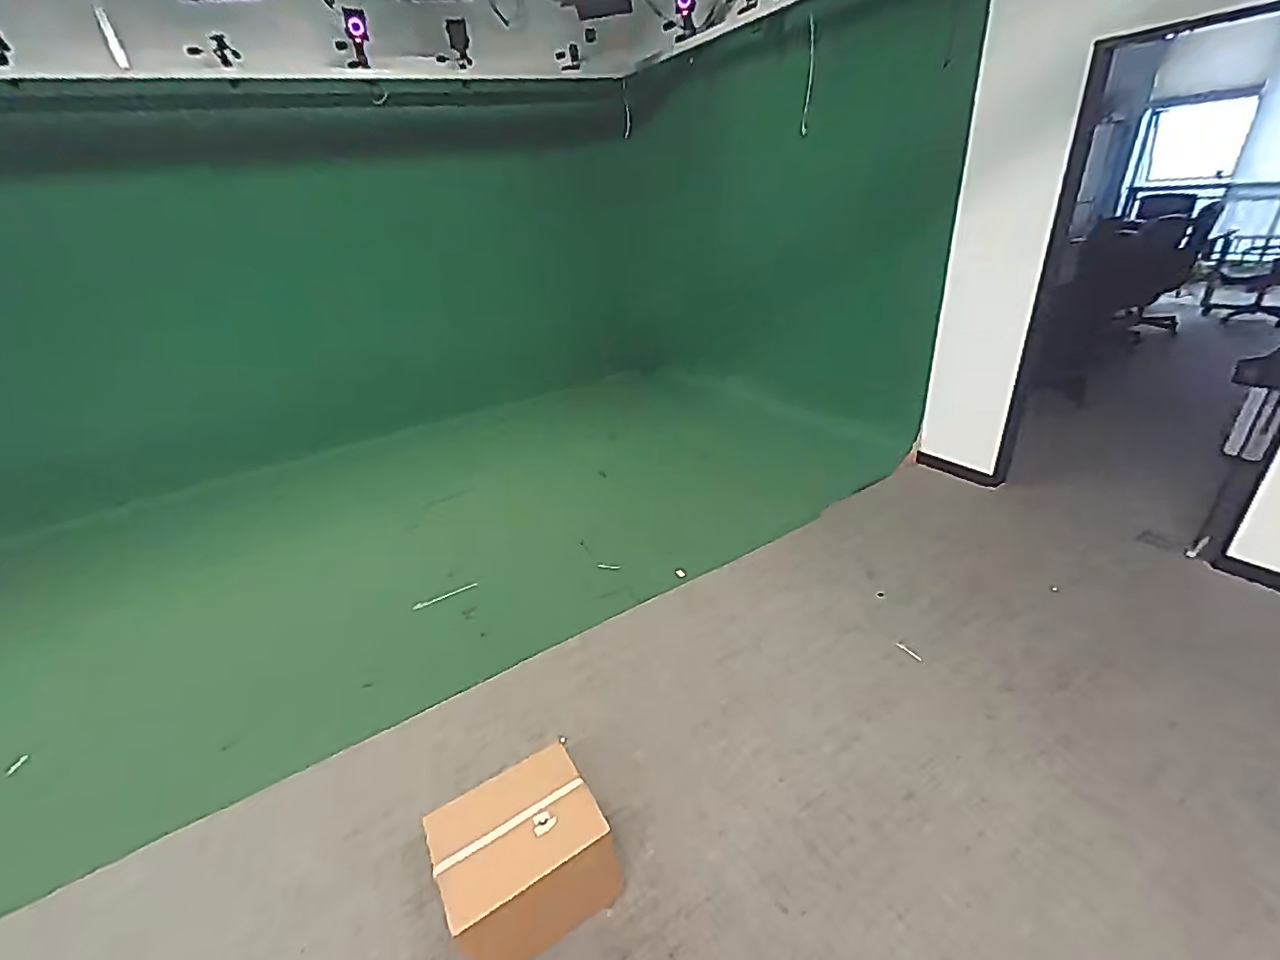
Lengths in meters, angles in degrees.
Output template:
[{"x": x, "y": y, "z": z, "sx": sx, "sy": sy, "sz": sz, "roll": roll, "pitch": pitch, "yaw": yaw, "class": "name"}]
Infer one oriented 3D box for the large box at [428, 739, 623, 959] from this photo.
[{"x": -0.302, "y": 1.010, "z": 1.461, "sx": 0.408, "sy": 0.320, "sz": 0.320, "roll": -20, "pitch": 31, "yaw": -25, "class": "large box"}]
